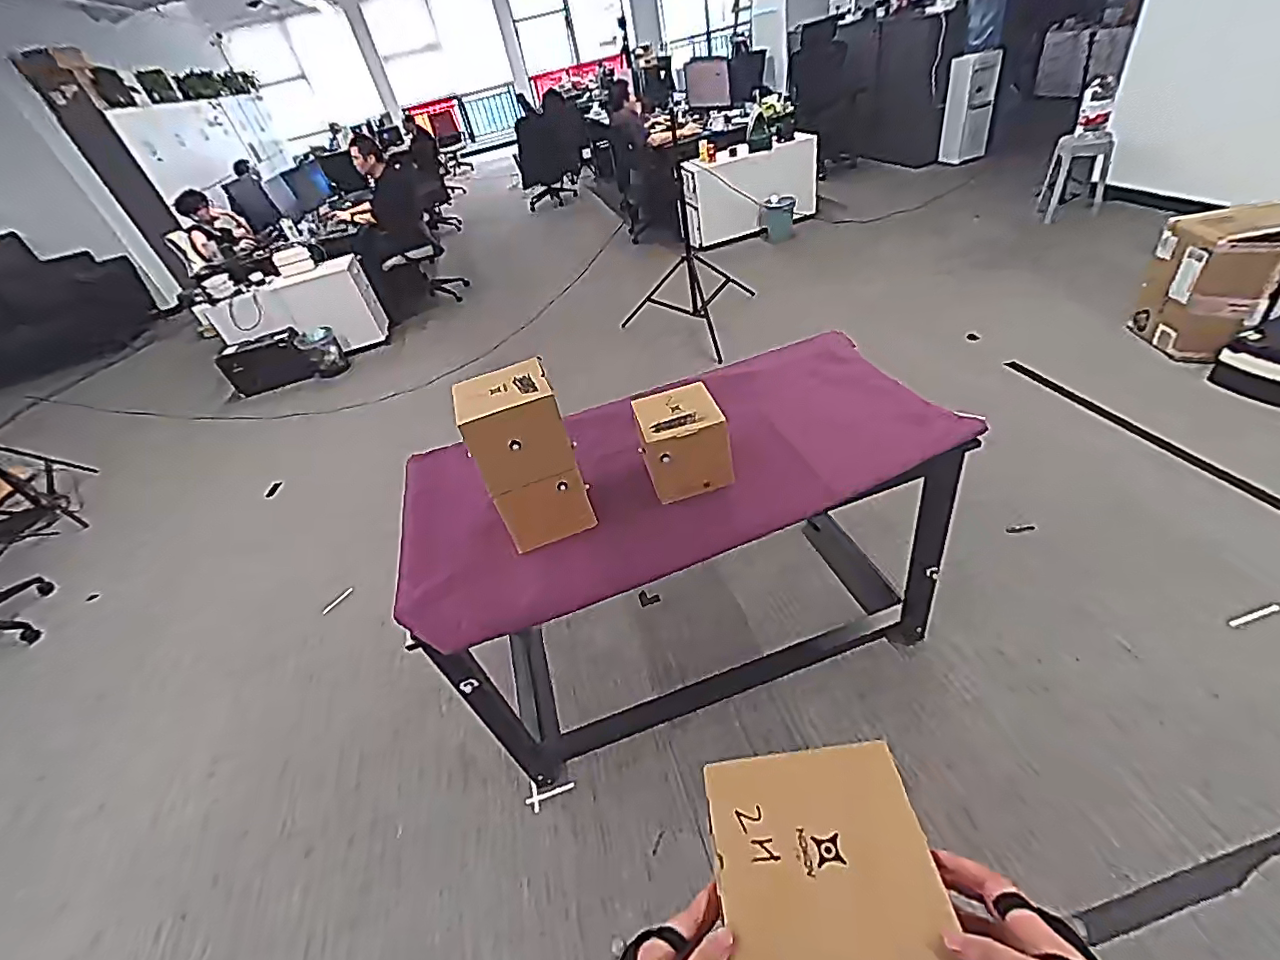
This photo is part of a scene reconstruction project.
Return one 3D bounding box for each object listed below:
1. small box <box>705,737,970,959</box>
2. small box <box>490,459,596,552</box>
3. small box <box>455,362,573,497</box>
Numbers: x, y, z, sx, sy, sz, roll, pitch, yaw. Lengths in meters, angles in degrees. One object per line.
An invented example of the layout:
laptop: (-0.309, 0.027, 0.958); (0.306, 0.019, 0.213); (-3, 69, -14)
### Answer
small box: (0.165, 0.368, 0.501); (0.179, 0.176, 0.168); (-11, 35, 6)
small box: (-0.210, 0.025, 1.147); (0.179, 0.176, 0.168); (-20, 39, -8)
small box: (-0.237, -0.097, 1.040); (0.179, 0.176, 0.168); (-20, 39, -8)
